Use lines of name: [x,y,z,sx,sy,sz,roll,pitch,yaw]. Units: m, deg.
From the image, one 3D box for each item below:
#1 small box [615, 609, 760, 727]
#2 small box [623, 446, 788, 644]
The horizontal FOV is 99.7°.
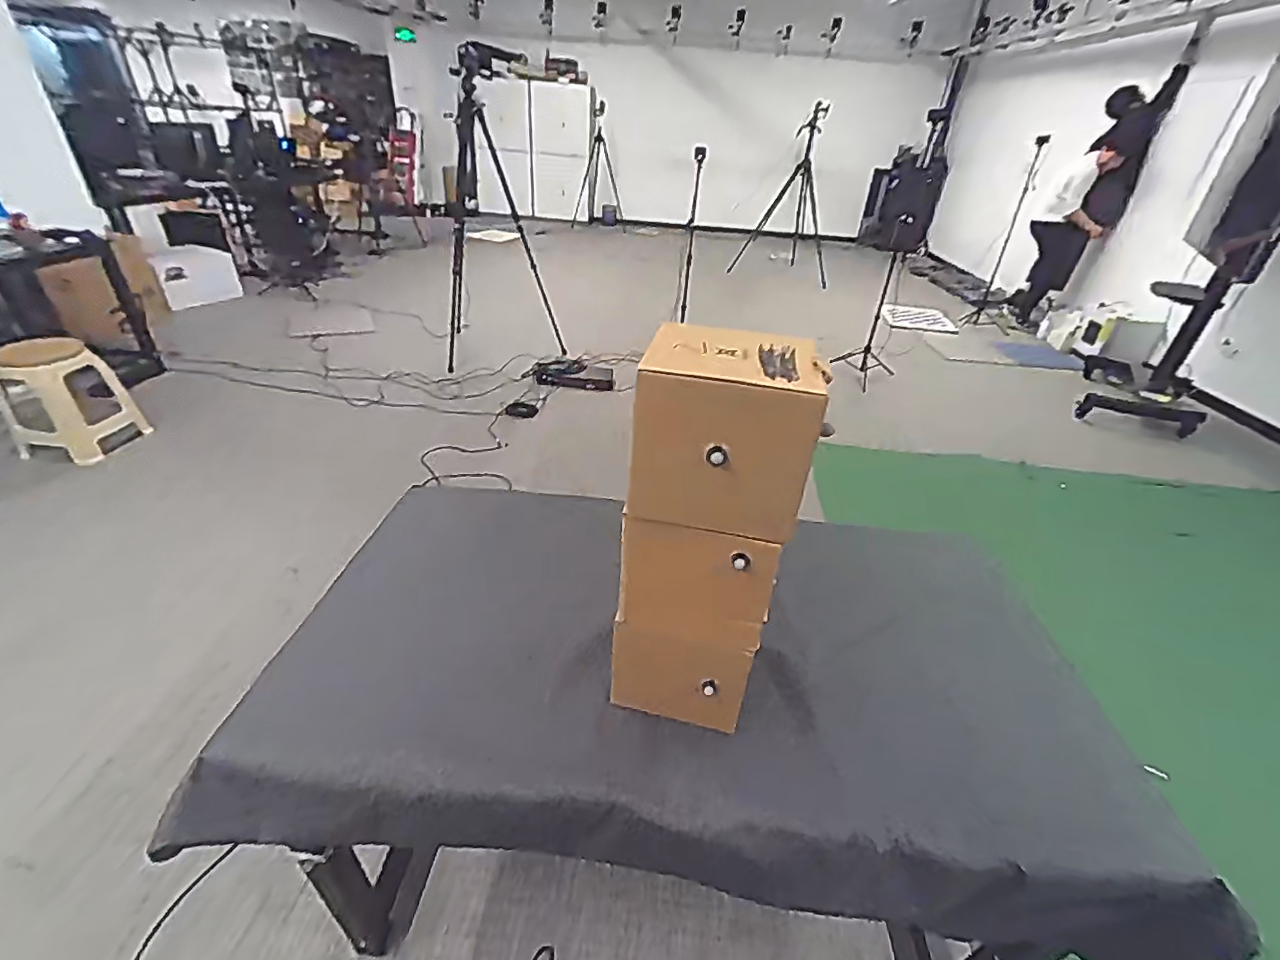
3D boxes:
small box: [0.070,0.218,0.763,0.179,0.176,0.168,10,32,10]
small box: [0.081,0.079,0.679,0.179,0.176,0.168,11,33,9]
